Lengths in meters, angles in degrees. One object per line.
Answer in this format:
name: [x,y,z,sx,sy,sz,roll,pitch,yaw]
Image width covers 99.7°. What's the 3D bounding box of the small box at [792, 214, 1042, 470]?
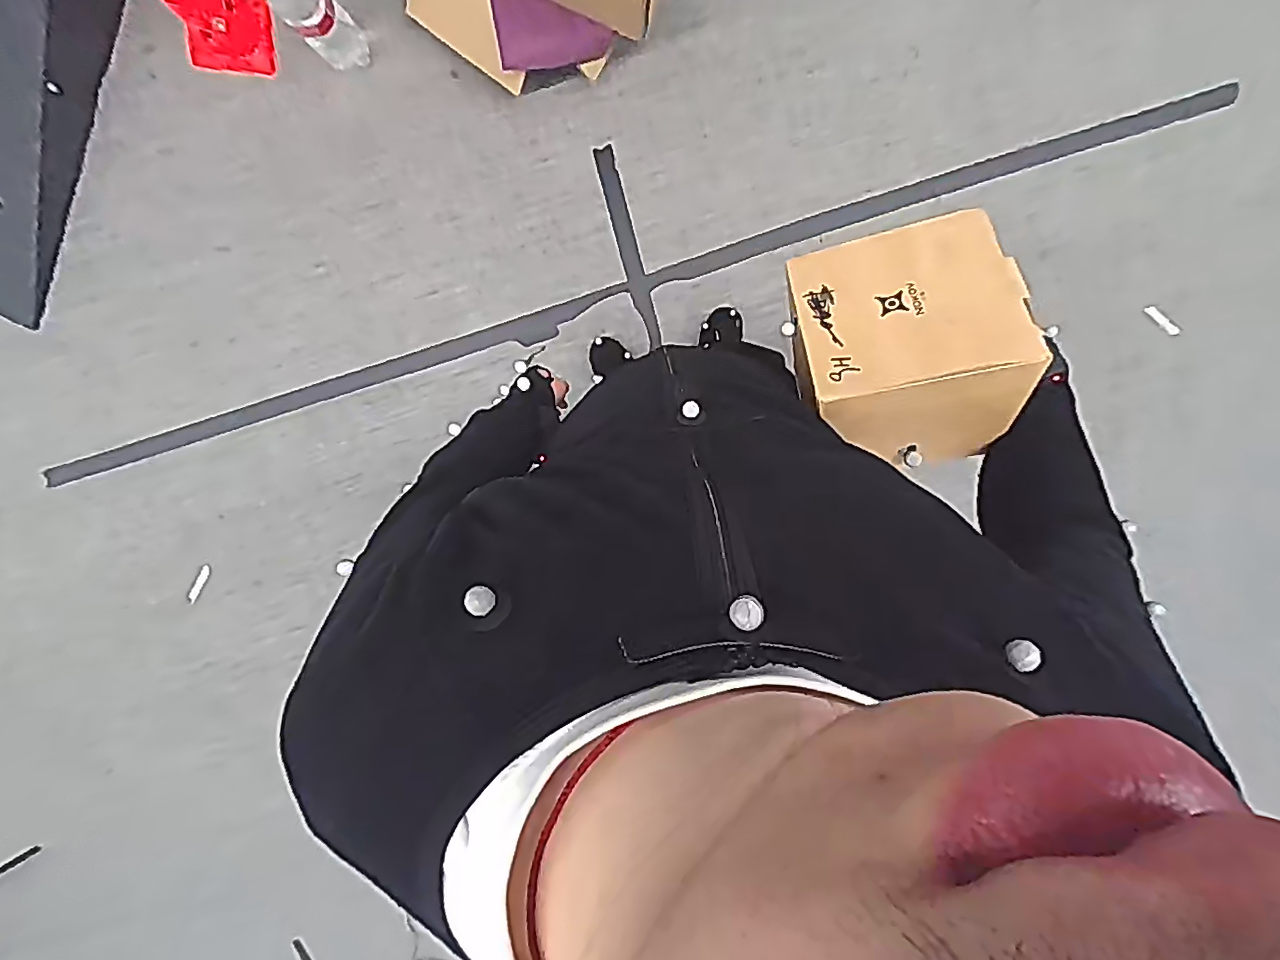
small box: [0.257,-0.126,0.551,0.179,0.176,0.168,-10,63,14]
